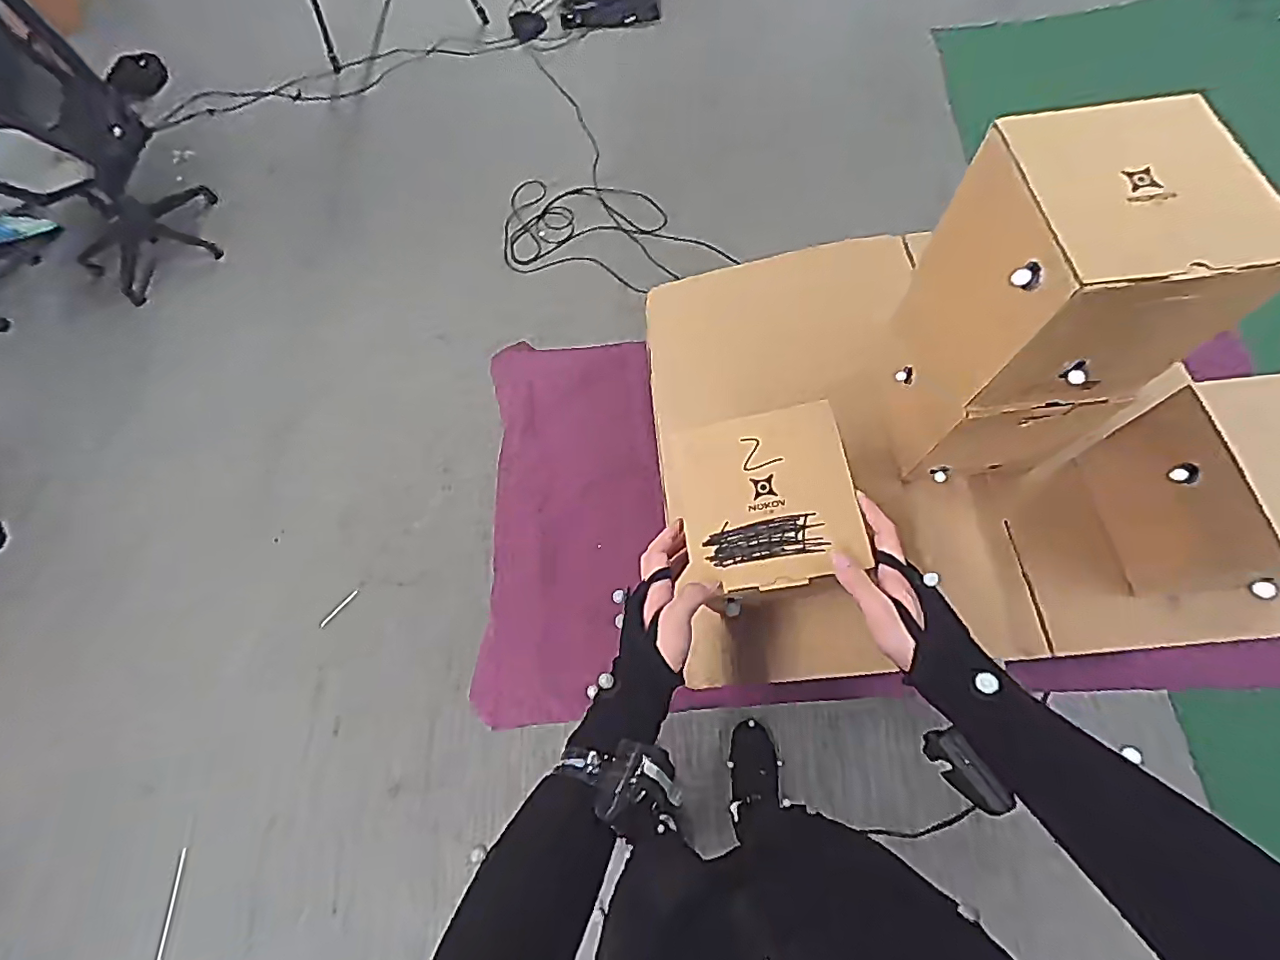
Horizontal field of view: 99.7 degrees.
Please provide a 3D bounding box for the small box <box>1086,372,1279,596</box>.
[{"bbox_3d":[0.611,0.009,0.545,0.168,0.176,0.179,-6,67,3],"label":"small box"}]

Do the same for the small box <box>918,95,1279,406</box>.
[{"bbox_3d":[0.374,-0.186,0.469,0.168,0.176,0.179,-7,68,0],"label":"small box"}]

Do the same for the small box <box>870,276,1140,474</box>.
[{"bbox_3d":[0.387,-0.116,0.614,0.168,0.176,0.179,-6,66,1],"label":"small box"}]
